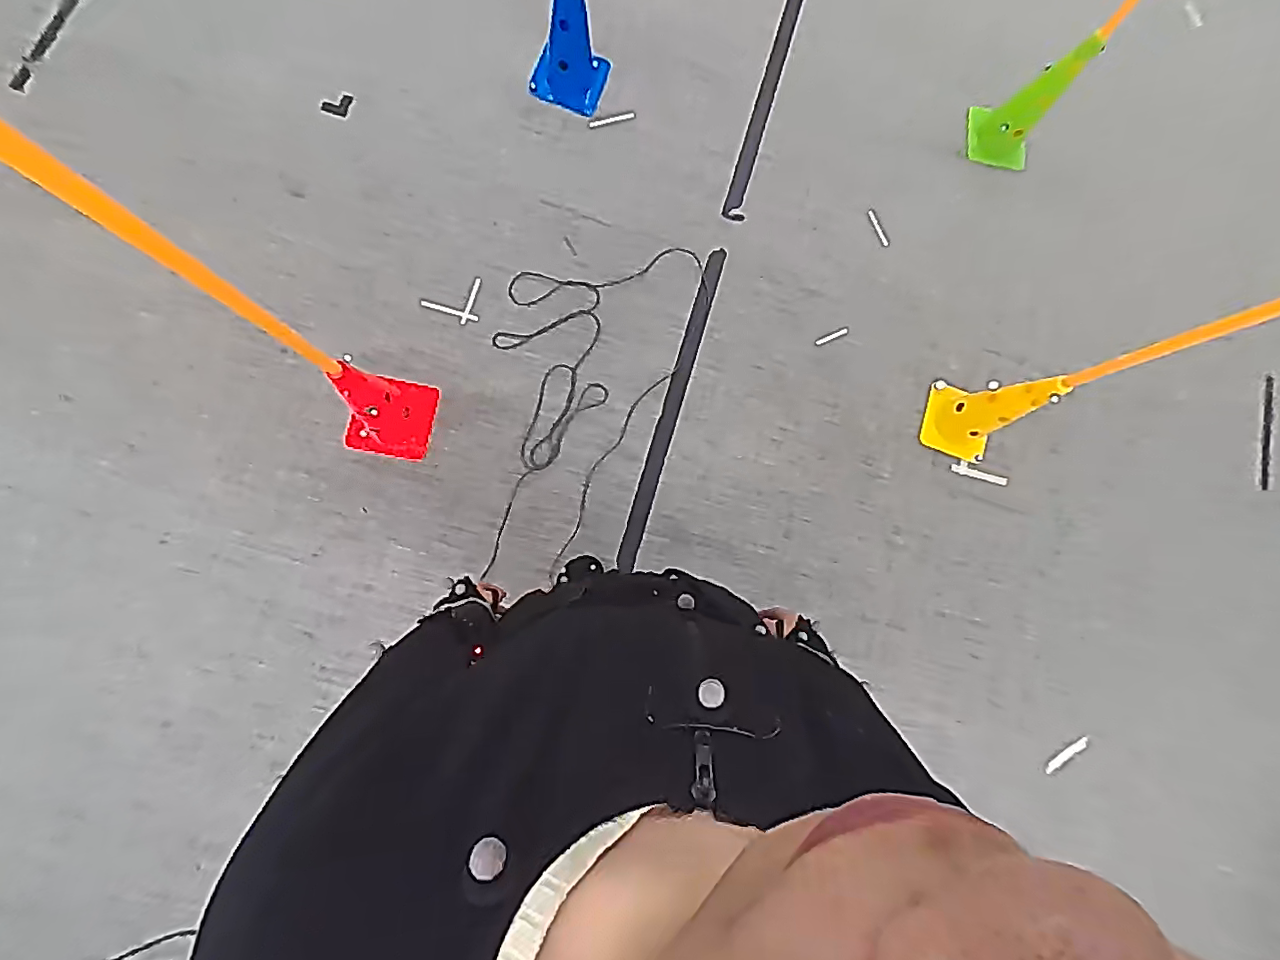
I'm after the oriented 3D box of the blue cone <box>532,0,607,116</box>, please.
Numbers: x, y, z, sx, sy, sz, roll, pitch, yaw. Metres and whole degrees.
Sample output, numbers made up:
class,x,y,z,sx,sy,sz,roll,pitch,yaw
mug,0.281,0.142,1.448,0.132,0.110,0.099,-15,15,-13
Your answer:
class,x,y,z,sx,sy,sz,roll,pitch,yaw
blue cone,-0.185,-1.191,1.418,0.193,0.380,0.192,20,80,-3

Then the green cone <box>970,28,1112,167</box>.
class,x,y,z,sx,sy,sz,roll,pitch,yaw
green cone,1.171,-1.129,1.564,0.200,0.368,0.202,7,82,-6

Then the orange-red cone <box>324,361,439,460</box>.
class,x,y,z,sx,sy,sz,roll,pitch,yaw
orange-red cone,-0.601,-0.185,1.195,0.199,0.360,0.198,12,80,-6
